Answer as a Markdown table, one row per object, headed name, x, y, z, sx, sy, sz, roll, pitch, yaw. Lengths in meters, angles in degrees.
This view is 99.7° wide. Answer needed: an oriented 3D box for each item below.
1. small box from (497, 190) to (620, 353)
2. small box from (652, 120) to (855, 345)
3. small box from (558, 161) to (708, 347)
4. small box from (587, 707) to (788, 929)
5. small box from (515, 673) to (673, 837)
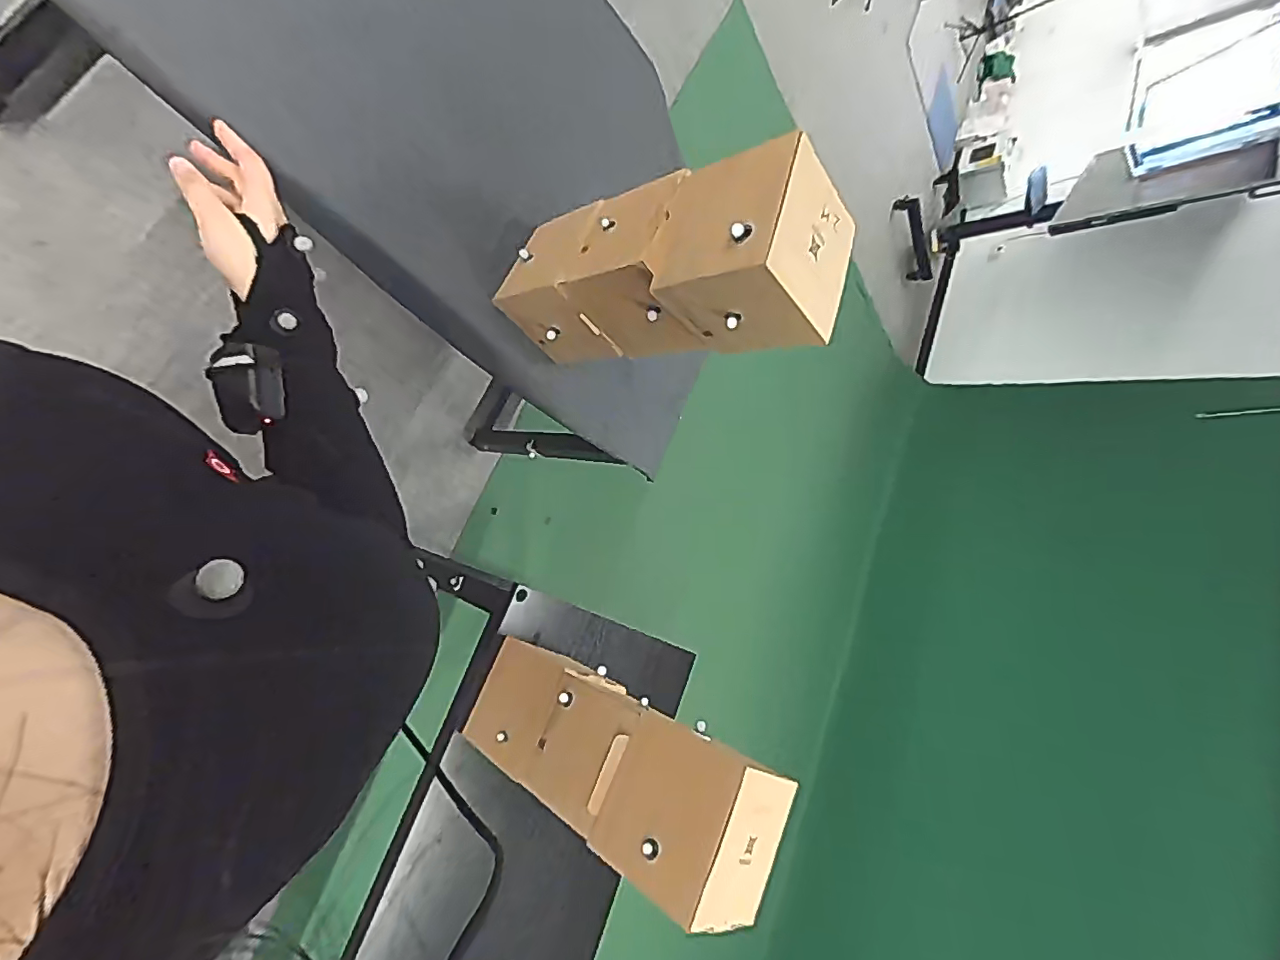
| name | x | y | z | sx | sy | sz | roll | pitch | yaw |
| --- | --- | --- | --- | --- | --- | --- | --- | --- | --- |
| small box | -0.106 | -0.325 | 0.885 | 0.168 | 0.176 | 0.179 | 41 | 66 | -41 |
| small box | 0.138 | -0.284 | 0.669 | 0.168 | 0.176 | 0.179 | 28 | 74 | -45 |
| small box | 0.017 | -0.308 | 0.780 | 0.179 | 0.176 | 0.168 | 38 | 67 | -41 |
| small box | 0.058 | 0.423 | 0.694 | 0.168 | 0.176 | 0.179 | 42 | 67 | -43 |
| small box | -0.053 | 0.409 | 0.812 | 0.179 | 0.176 | 0.168 | 41 | 68 | -42 |
